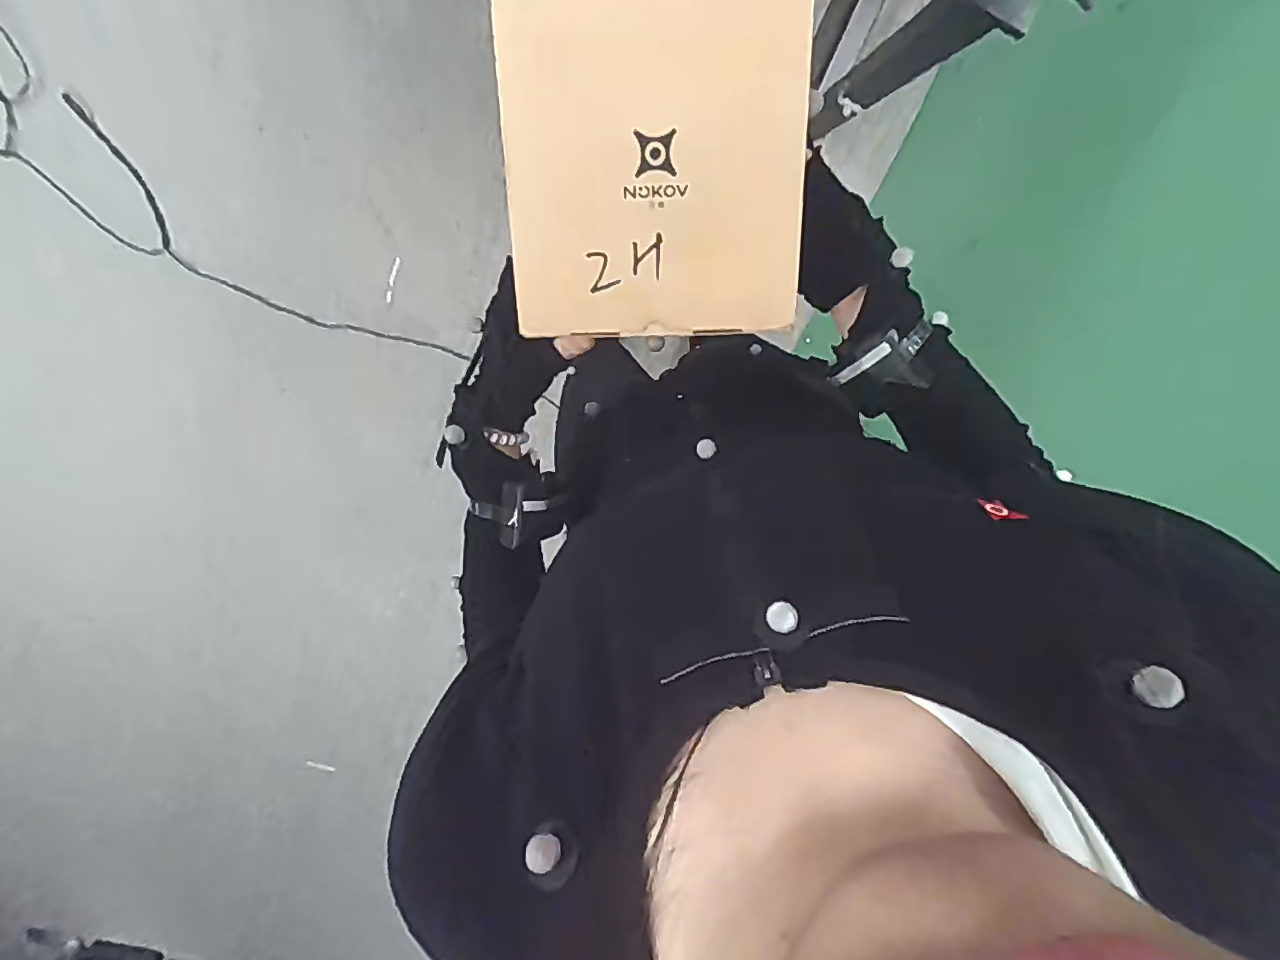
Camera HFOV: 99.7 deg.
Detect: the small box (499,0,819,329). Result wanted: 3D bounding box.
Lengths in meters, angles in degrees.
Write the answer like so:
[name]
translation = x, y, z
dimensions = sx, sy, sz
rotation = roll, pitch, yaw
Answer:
[small box]
translation = 0.010, -0.196, 0.369
dimensions = 0.168, 0.176, 0.179
rotation = 0, 107, 2
